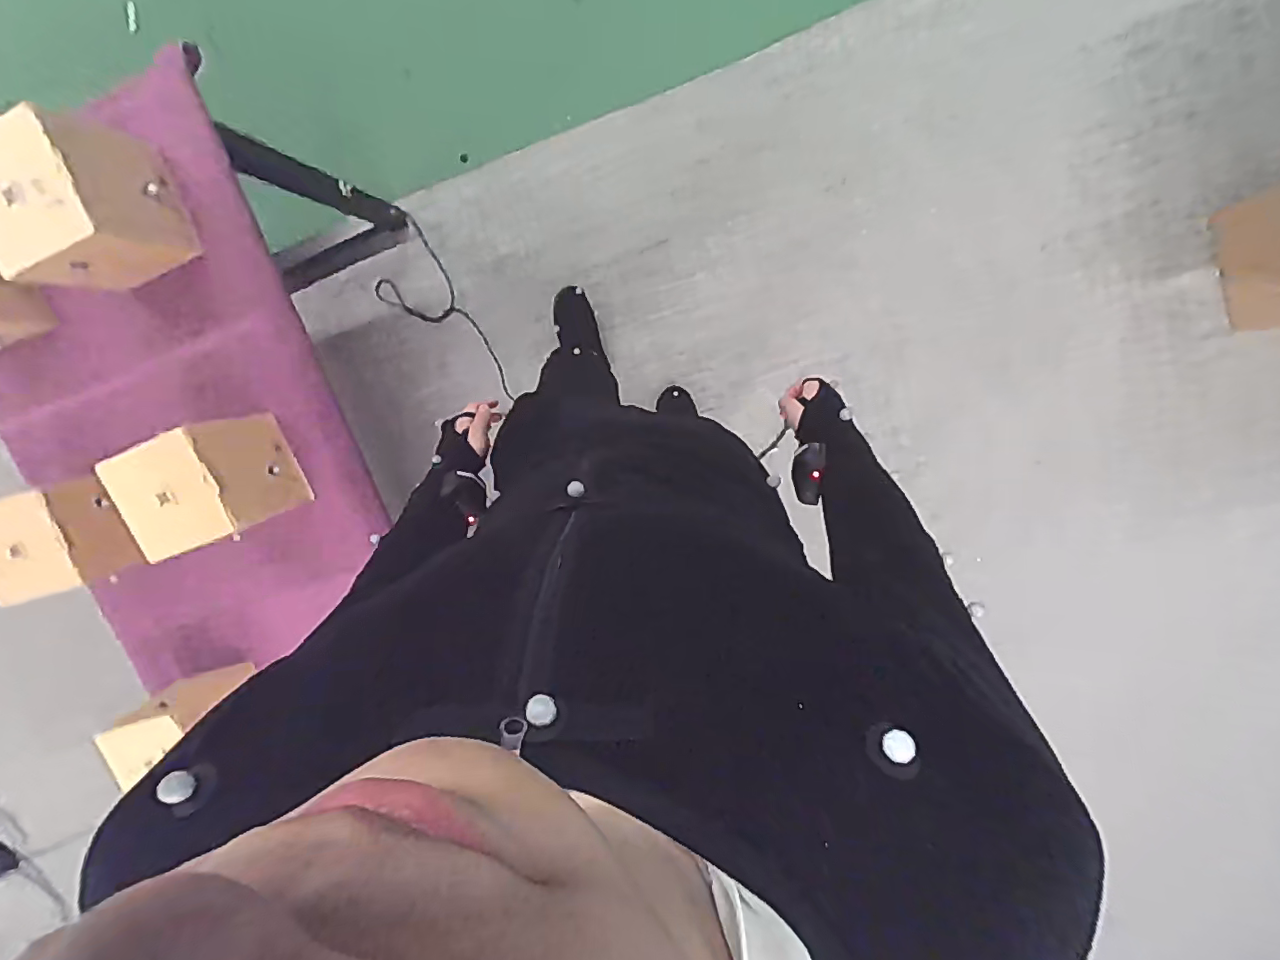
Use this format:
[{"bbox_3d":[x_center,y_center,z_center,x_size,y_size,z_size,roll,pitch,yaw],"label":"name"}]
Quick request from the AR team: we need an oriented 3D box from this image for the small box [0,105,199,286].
[{"bbox_3d":[-0.817,-0.397,0.794,0.179,0.176,0.168,-17,102,10],"label":"small box"}]

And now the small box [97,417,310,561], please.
[{"bbox_3d":[-0.693,0.007,0.879,0.179,0.176,0.168,-20,100,11],"label":"small box"}]

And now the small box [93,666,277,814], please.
[{"bbox_3d":[-0.817,0.469,0.997,0.179,0.176,0.168,-17,100,10],"label":"small box"}]

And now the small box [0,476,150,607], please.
[{"bbox_3d":[-0.973,0.093,0.930,0.179,0.176,0.168,-14,100,9],"label":"small box"}]

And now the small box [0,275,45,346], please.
[{"bbox_3d":[-1.113,-0.302,0.849,0.179,0.176,0.168,-16,101,7],"label":"small box"}]
